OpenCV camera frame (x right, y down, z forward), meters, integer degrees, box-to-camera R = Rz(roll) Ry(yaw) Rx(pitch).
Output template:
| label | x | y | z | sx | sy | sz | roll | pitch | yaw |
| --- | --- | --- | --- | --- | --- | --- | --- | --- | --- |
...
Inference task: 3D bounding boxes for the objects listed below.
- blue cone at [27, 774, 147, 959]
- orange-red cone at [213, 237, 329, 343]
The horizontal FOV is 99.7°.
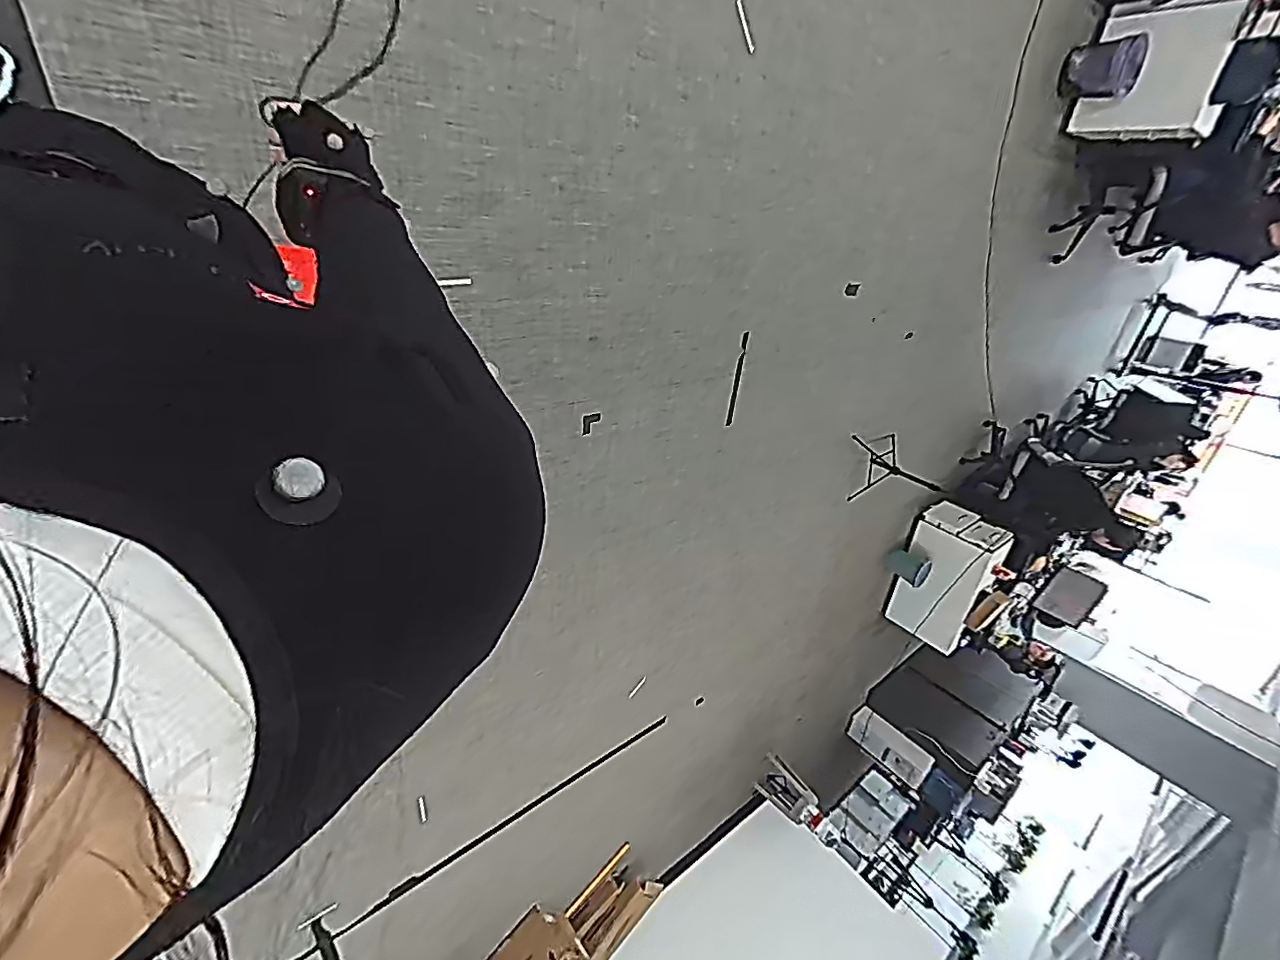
| label | x | y | z | sx | sy | sz | roll | pitch | yaw |
| --- | --- | --- | --- | --- | --- | --- | --- | --- | --- |
| blue cone | -1.290 | 0.907 | 1.259 | 0.192 | 0.380 | 0.193 | -11 | 121 | -37 |
| orange-red cone | -0.675 | -0.332 | 1.045 | 0.199 | 0.360 | 0.198 | -12 | 123 | -39 |
